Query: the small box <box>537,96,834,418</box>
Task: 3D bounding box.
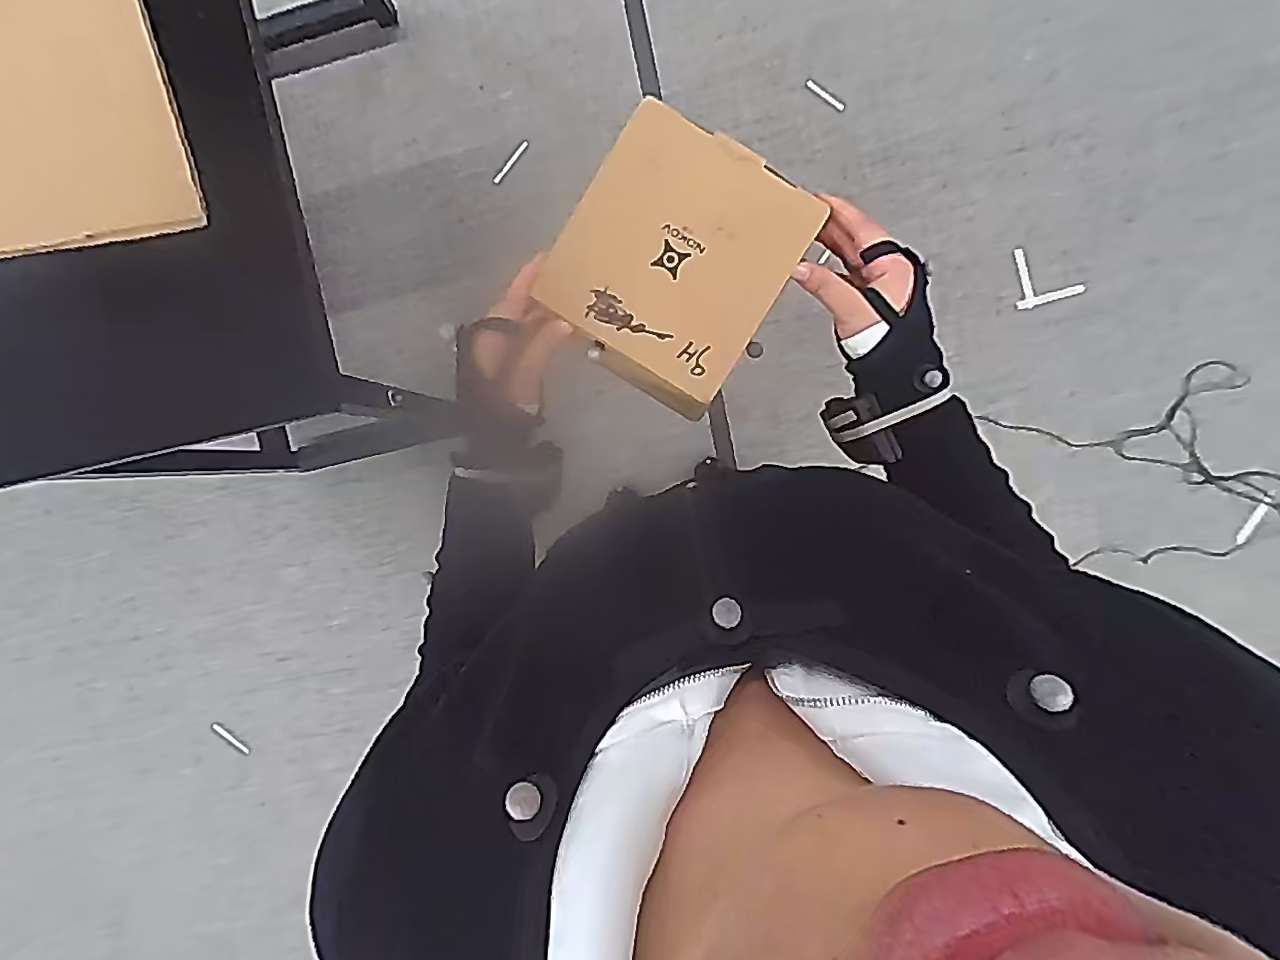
[{"bbox_3d":[0.036,-0.176,0.487,0.168,0.176,0.179,33,92,3],"label":"small box"}]
